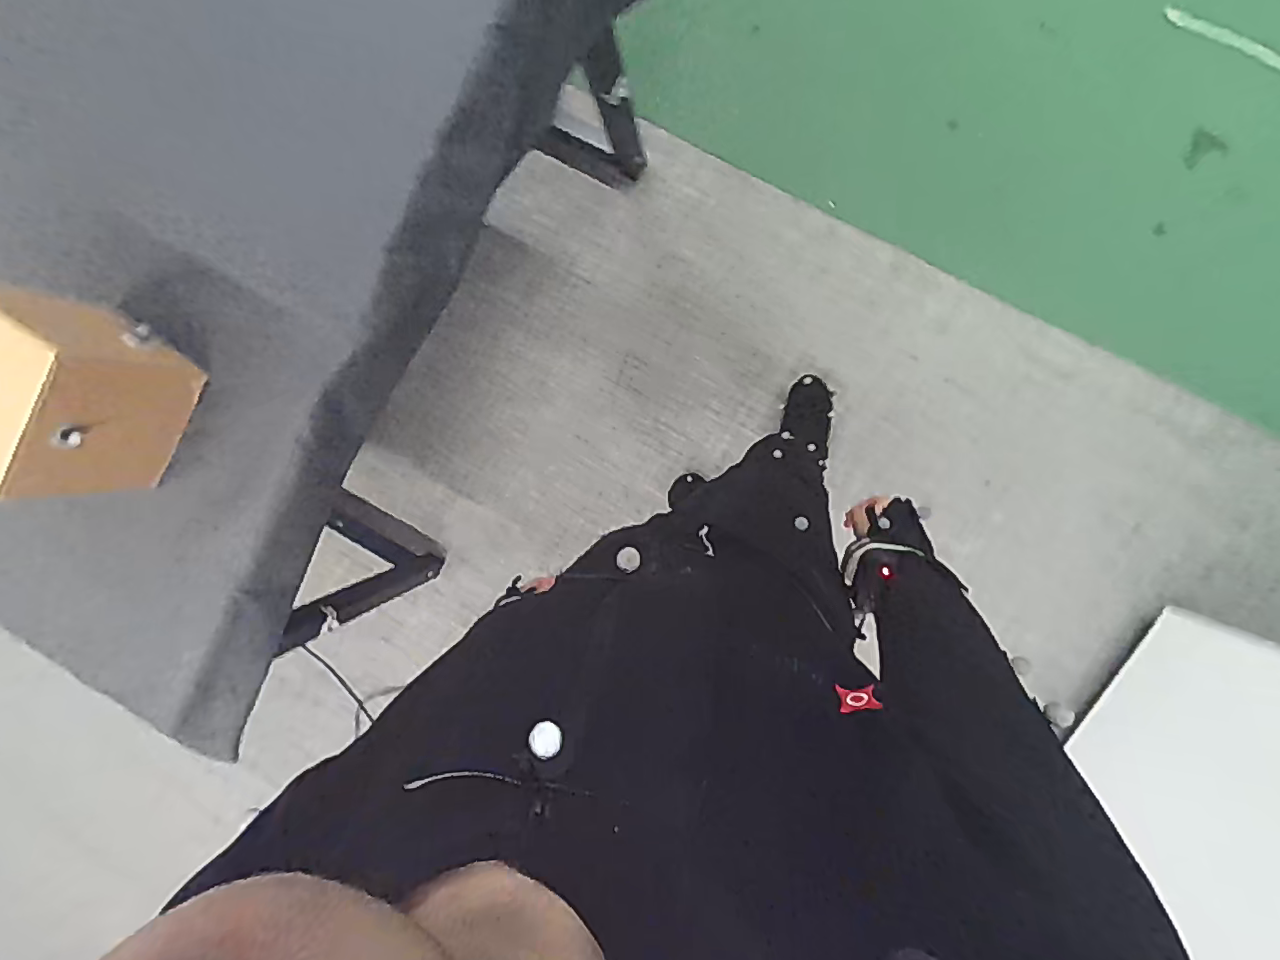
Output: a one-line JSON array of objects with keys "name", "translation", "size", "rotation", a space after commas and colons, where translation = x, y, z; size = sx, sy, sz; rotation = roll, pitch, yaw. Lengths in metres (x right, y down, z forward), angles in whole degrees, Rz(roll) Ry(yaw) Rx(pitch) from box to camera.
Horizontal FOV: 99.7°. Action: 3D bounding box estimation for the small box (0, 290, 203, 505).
[{"name": "small box", "translation": [-0.658, -0.091, 0.613], "size": [0.168, 0.176, 0.179], "rotation": [31, 96, 3]}]
